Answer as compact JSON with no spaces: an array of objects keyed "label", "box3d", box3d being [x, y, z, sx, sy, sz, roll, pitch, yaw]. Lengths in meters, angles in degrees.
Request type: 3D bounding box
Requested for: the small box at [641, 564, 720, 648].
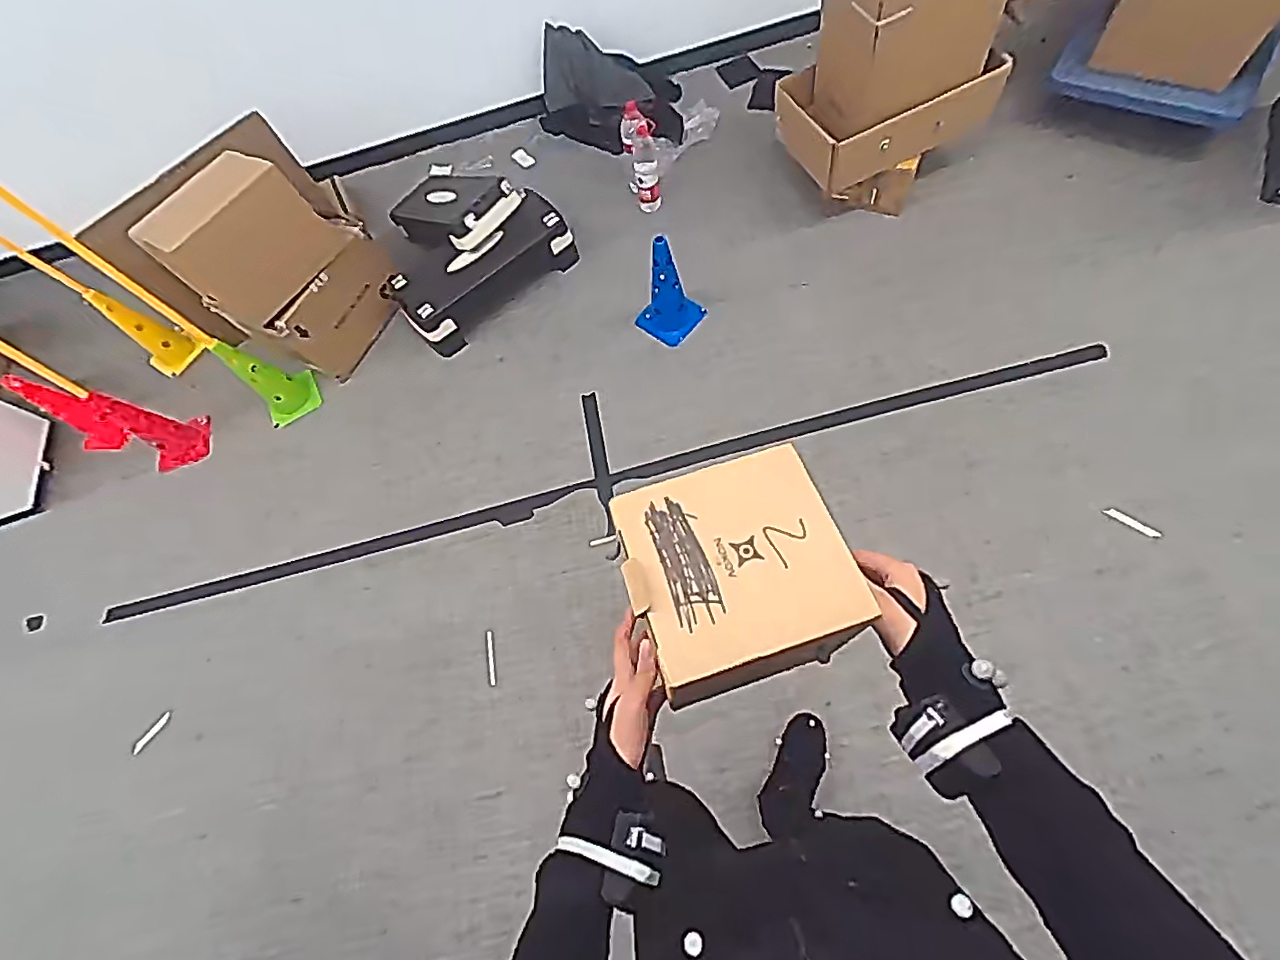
[{"label":"small box","box3d":[0.113,0.348,1.462,0.168,0.176,0.179,-18,66,2]}]
